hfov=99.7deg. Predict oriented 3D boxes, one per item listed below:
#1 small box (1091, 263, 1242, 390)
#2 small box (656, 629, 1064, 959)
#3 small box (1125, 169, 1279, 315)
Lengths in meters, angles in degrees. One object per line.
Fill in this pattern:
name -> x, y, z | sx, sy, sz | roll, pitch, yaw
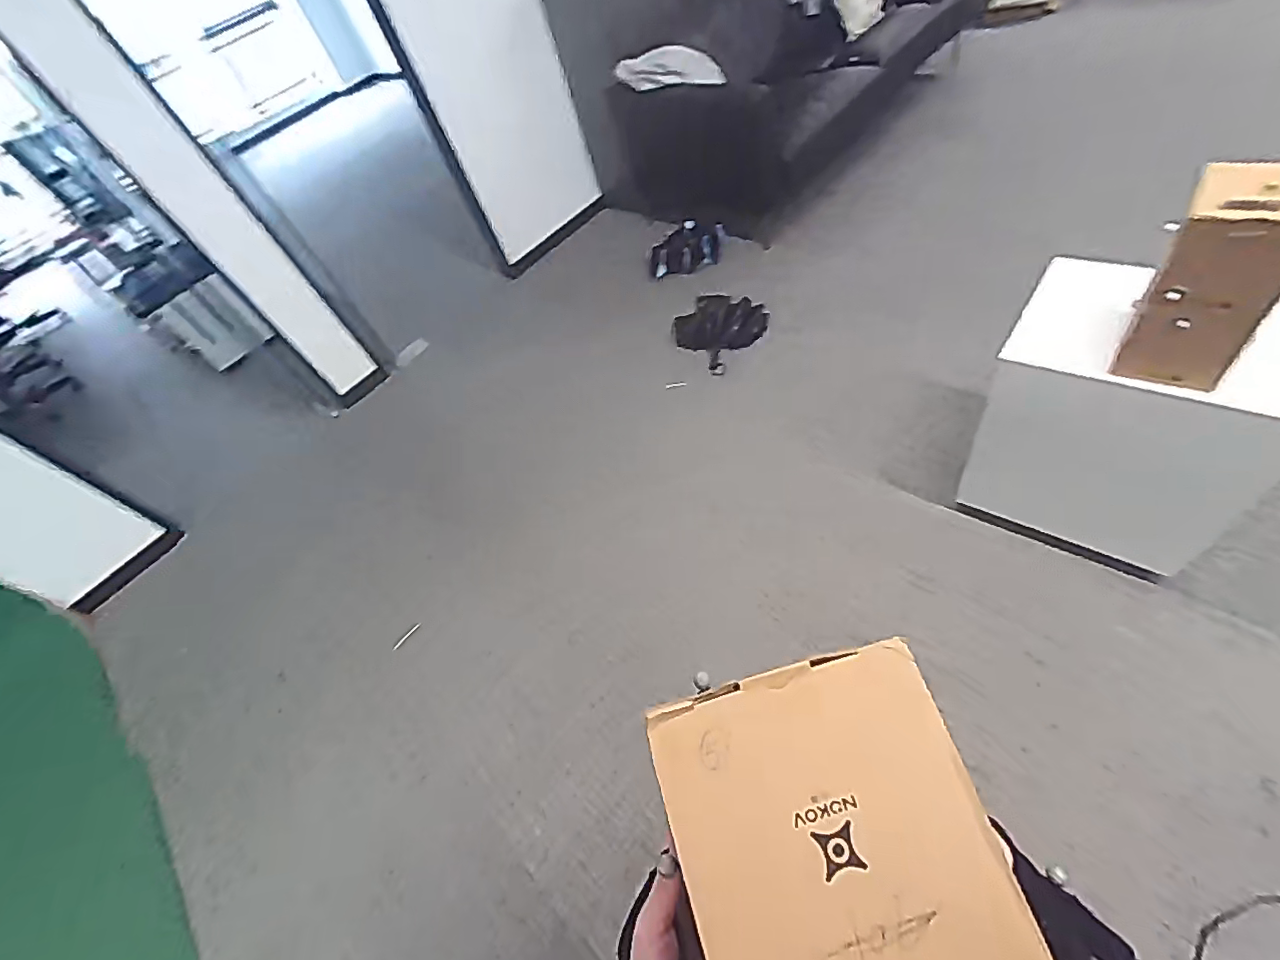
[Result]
small box -> 1.022, -0.306, 1.055 | 0.168, 0.176, 0.179 | 21, 60, 32
small box -> 0.110, 0.218, 0.363 | 0.168, 0.176, 0.179 | -16, 69, -4
small box -> 0.982, -0.409, 0.932 | 0.168, 0.176, 0.179 | 22, 60, 31
